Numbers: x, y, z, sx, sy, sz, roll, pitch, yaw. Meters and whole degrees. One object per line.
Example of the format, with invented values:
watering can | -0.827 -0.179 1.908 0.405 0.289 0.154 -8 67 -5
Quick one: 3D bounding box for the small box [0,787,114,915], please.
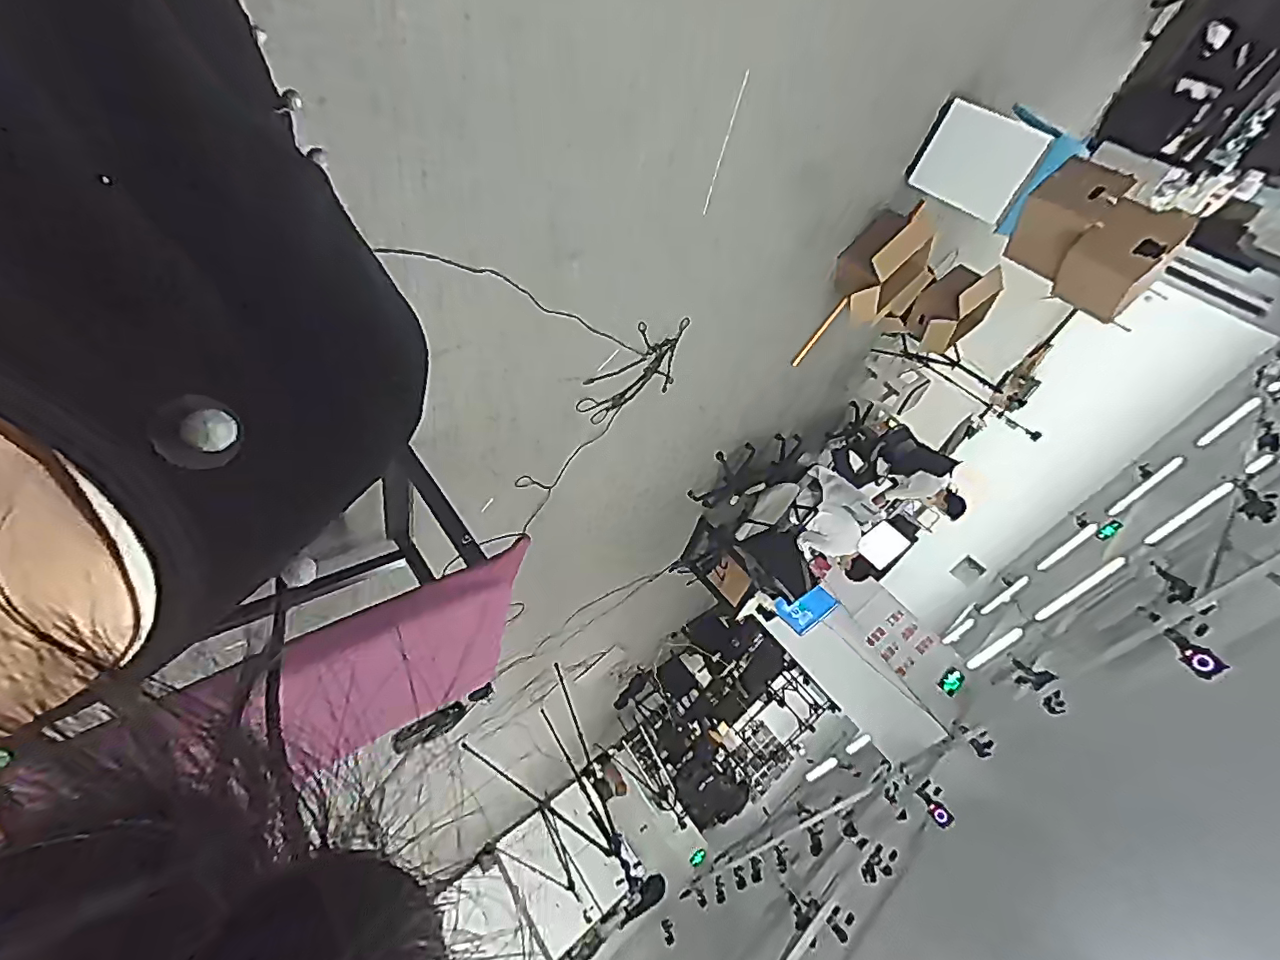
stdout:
small box | -1.124 0.715 0.998 0.179 0.176 0.168 -25 148 -34
